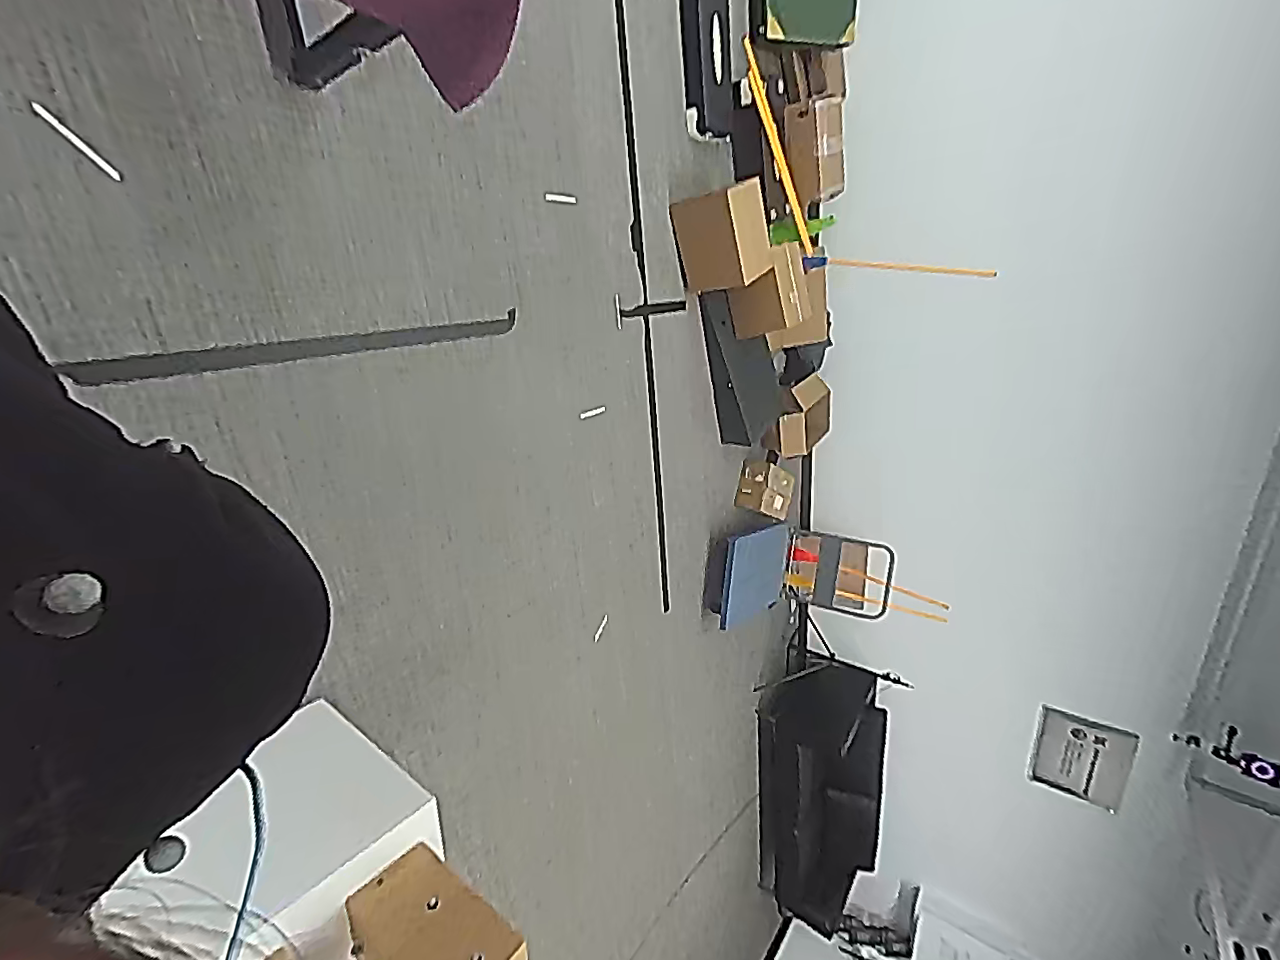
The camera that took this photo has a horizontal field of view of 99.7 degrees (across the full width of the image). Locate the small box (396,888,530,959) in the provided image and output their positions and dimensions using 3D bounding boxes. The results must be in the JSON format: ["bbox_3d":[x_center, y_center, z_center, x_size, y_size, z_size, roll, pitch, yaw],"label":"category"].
[{"bbox_3d":[-0.317,0.900,0.974,0.179,0.176,0.168,-19,113,-50],"label":"small box"}]

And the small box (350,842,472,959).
[{"bbox_3d":[-0.448,0.878,1.072,0.168,0.176,0.179,-19,115,-50],"label":"small box"}]
